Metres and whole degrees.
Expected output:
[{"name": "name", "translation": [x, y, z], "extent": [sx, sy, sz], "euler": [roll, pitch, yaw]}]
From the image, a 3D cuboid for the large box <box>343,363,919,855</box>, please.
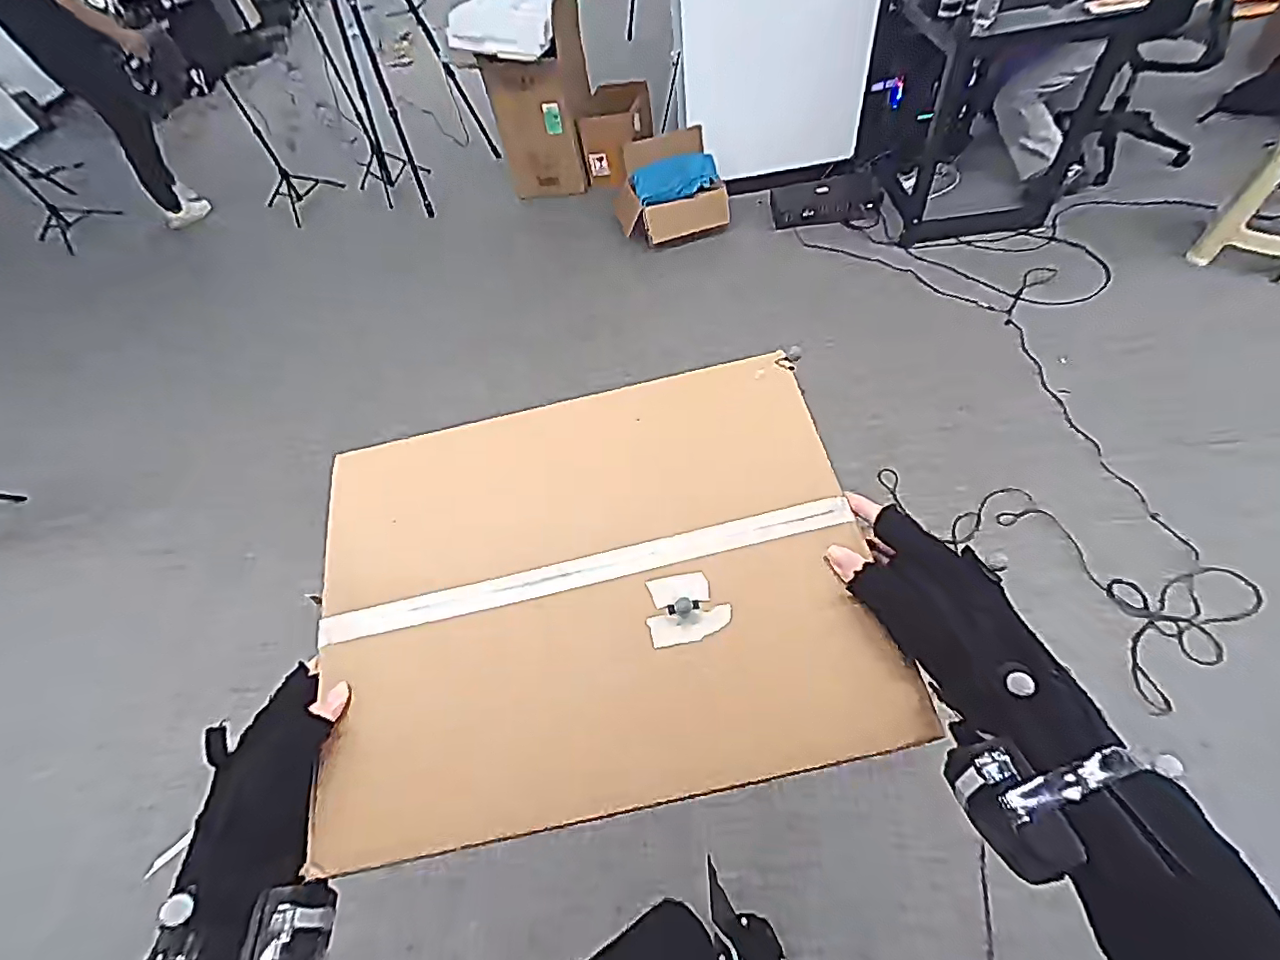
[{"name": "large box", "translation": [-0.021, 0.137, 0.557], "extent": [0.408, 0.320, 0.320], "euler": [-13, 63, 0]}]
